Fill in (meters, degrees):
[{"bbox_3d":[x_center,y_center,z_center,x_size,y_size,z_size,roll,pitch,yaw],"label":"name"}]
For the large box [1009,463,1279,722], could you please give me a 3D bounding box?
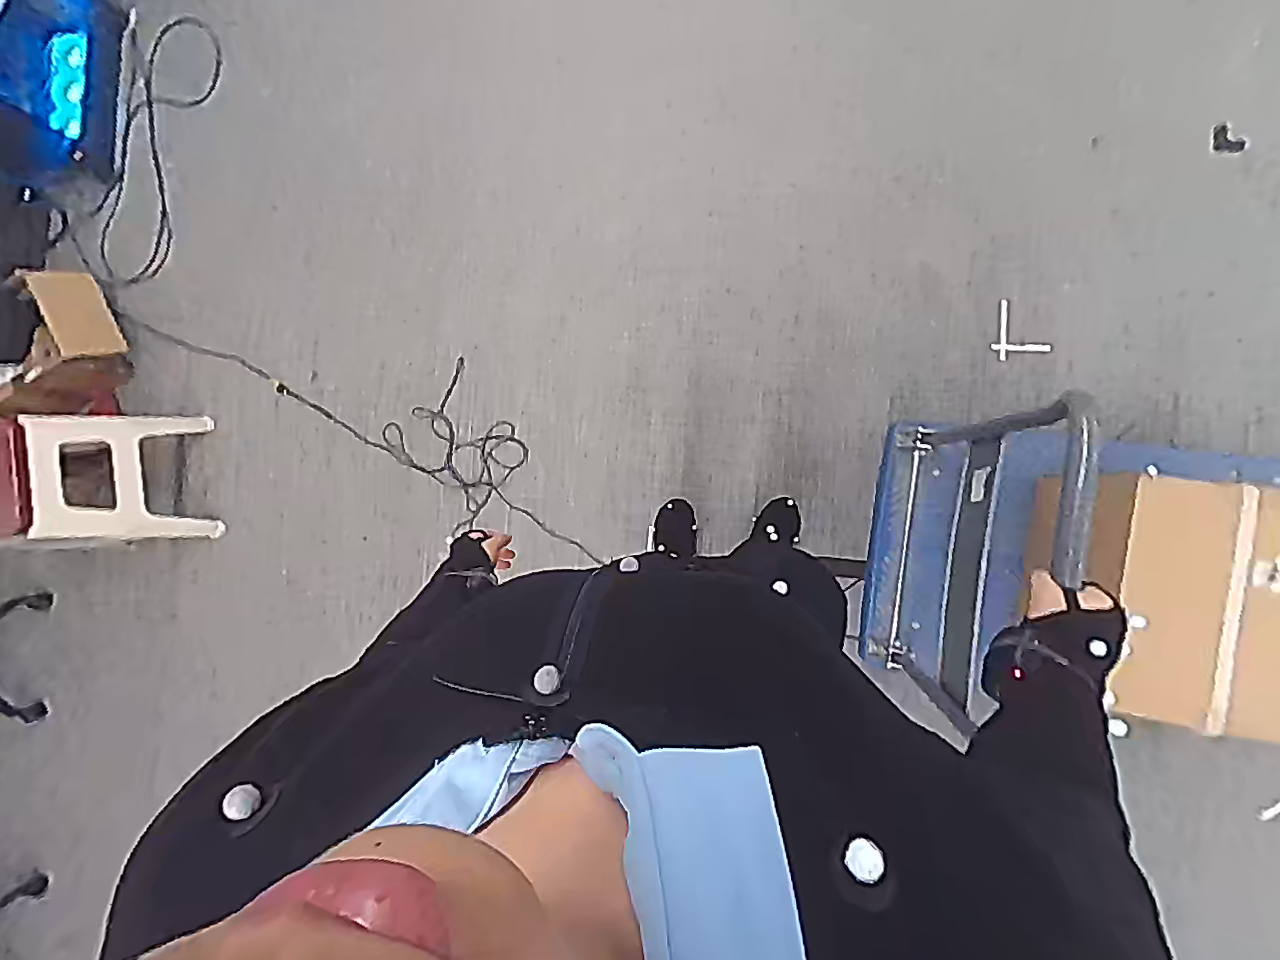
[{"bbox_3d":[0.971,0.191,1.047,0.320,0.320,0.408,8,89,8],"label":"large box"}]
